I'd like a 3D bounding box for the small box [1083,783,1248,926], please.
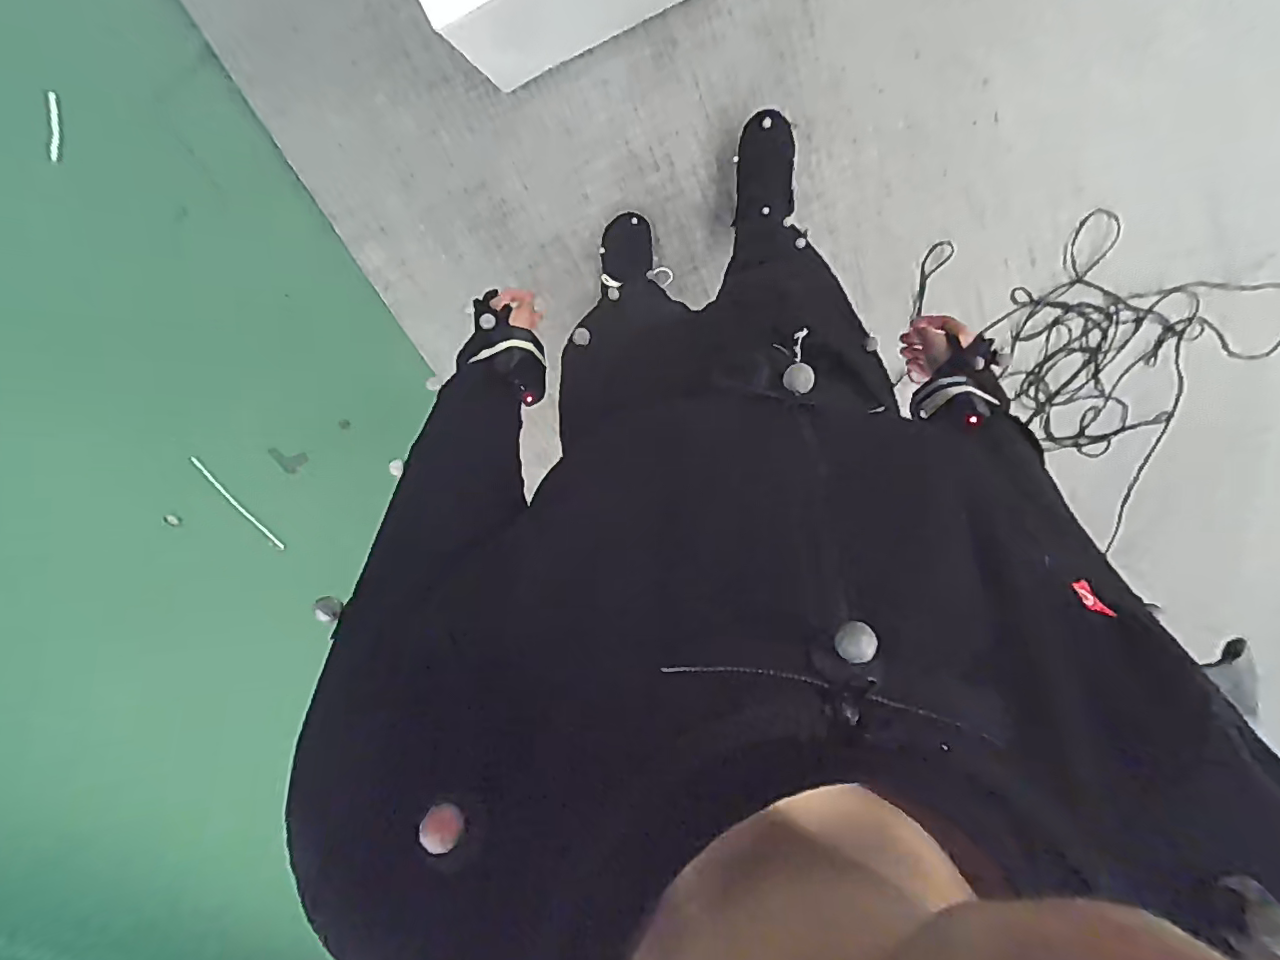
[{"bbox_3d":[1.017,0.726,1.062,0.168,0.176,0.179,-27,120,11],"label":"small box"}]
